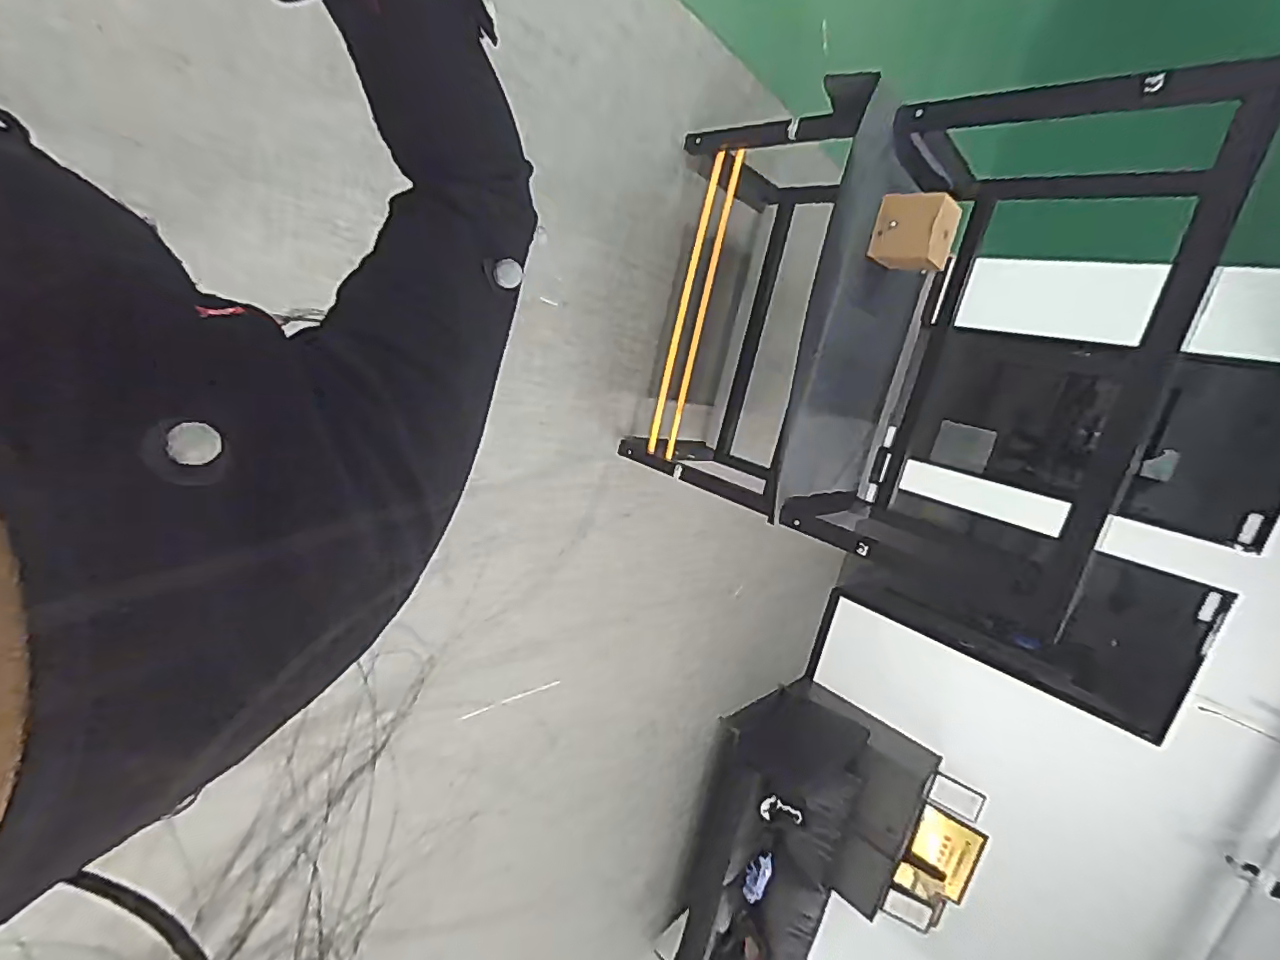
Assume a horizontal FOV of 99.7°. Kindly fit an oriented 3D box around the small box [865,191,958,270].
[{"bbox_3d":[0.777,-0.715,1.553,0.179,0.176,0.168,-5,111,-47],"label":"small box"}]
